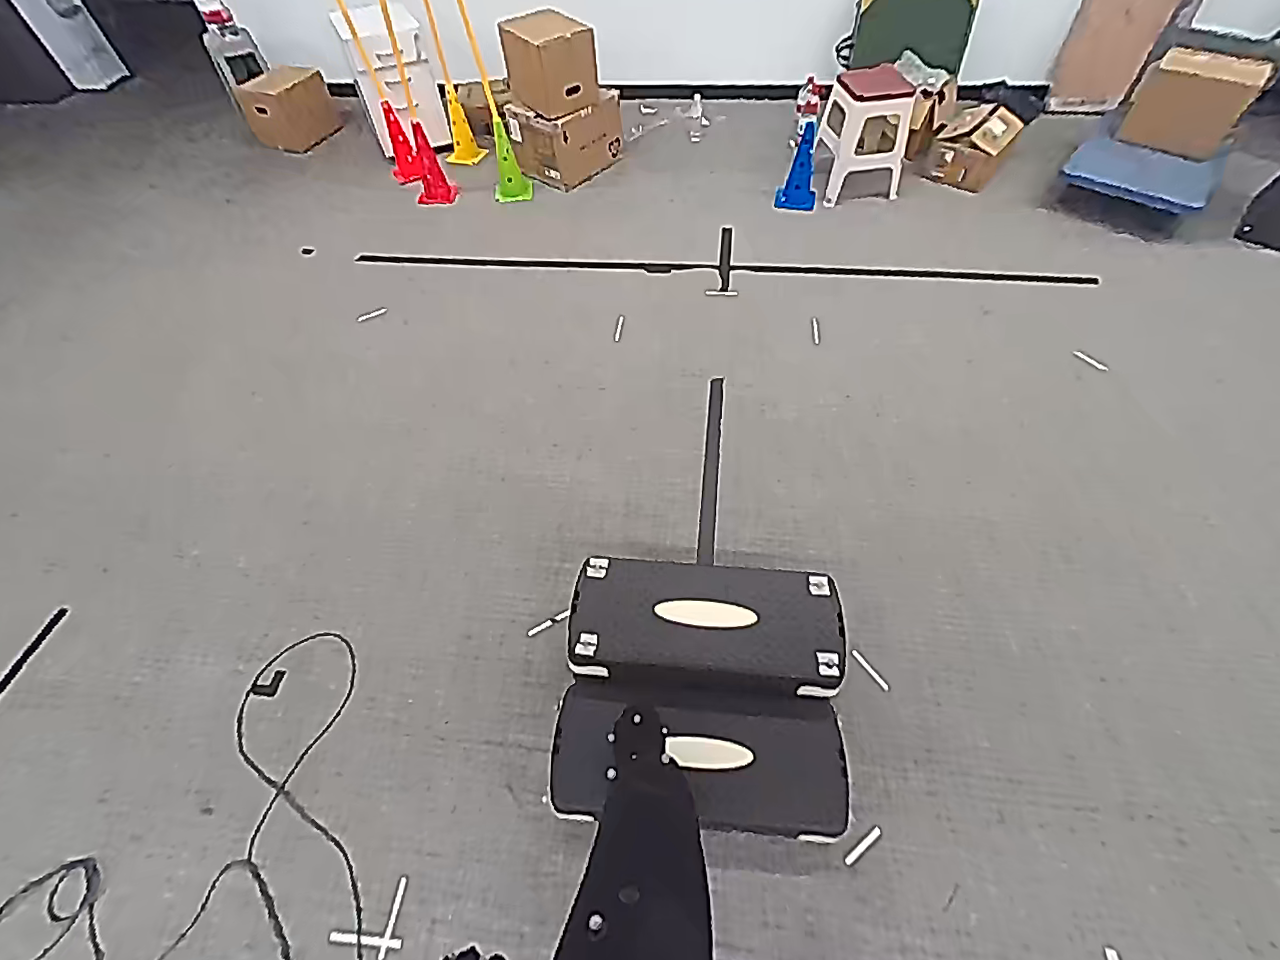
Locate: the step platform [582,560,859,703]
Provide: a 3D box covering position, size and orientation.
[{"bbox_3d":[0.195,0.384,1.393,0.684,0.204,0.286,3,54,4],"label":"step platform"}]
